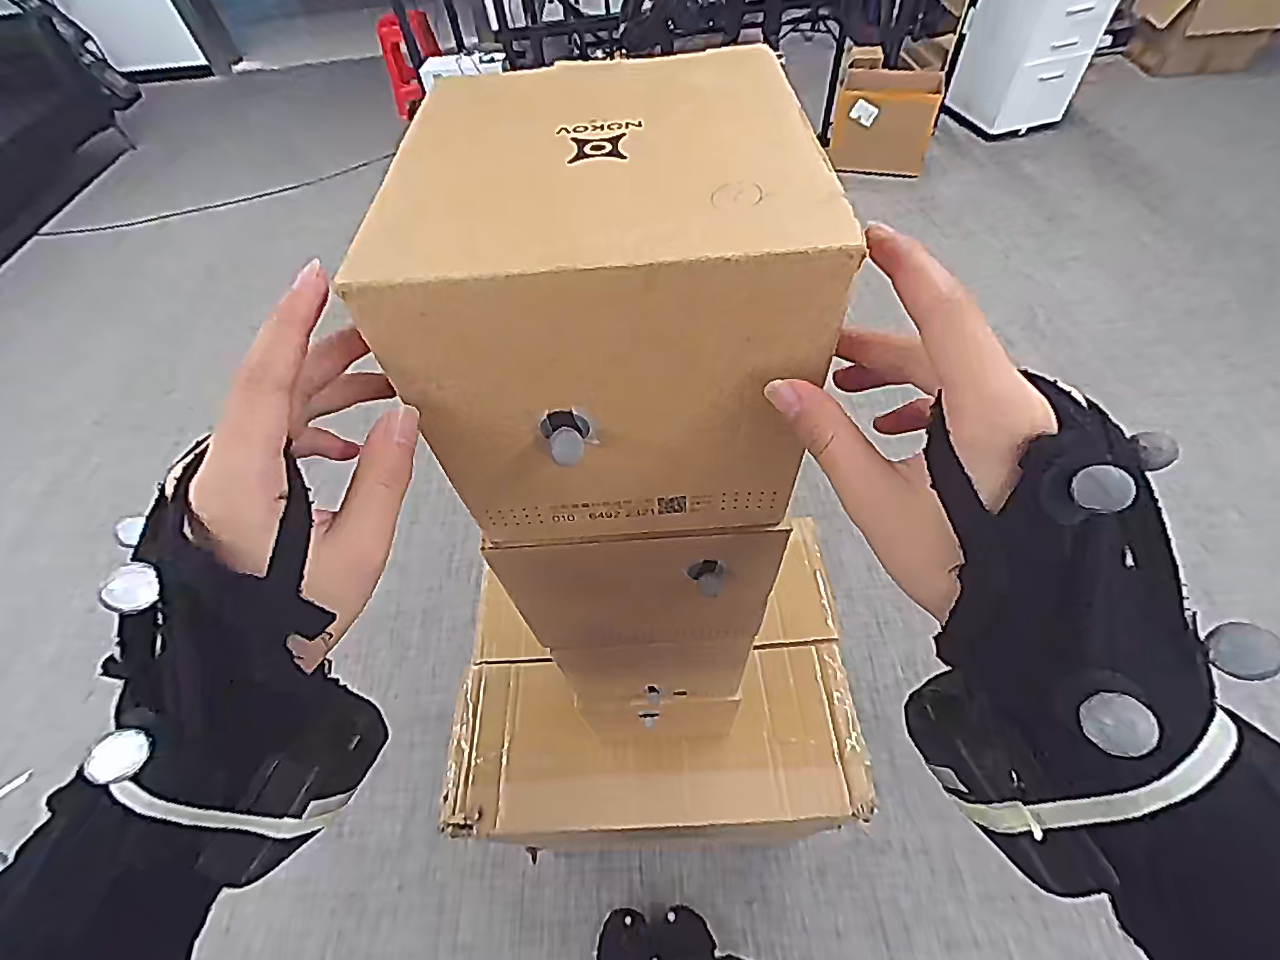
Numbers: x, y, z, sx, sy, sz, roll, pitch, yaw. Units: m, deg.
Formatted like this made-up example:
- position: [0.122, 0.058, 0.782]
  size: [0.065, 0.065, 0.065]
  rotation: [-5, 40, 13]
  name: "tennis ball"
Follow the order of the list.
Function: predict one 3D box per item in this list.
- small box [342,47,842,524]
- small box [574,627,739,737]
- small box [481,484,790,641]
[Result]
- position: [-0.013, -0.087, 0.283]
  size: [0.168, 0.176, 0.179]
  rotation: [-5, 53, 2]
  name: "small box"
- position: [0.022, 0.213, 0.671]
  size: [0.179, 0.176, 0.168]
  rotation: [-4, 54, 2]
  name: "small box"
- position: [-0.001, 0.013, 0.410]
  size: [0.179, 0.176, 0.168]
  rotation: [-4, 54, 2]
  name: "small box"
